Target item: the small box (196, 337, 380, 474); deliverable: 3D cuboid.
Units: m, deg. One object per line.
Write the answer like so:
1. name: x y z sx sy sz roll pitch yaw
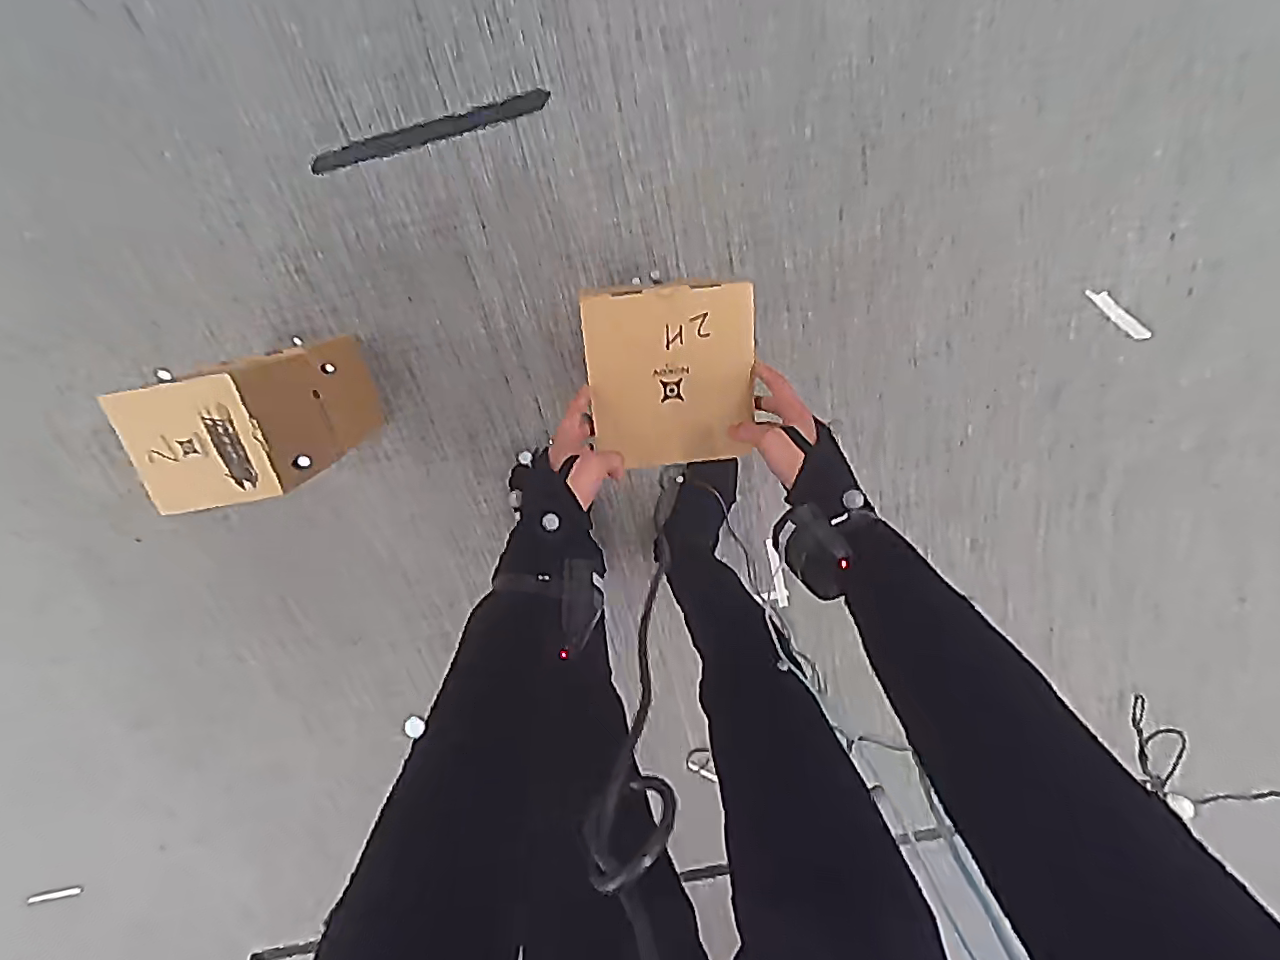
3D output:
1. small box: -0.570 -0.130 0.907 0.168 0.176 0.179 -11 110 2

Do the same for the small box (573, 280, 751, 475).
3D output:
1. small box: 0.020 -0.121 0.597 0.168 0.176 0.179 -6 112 -3
